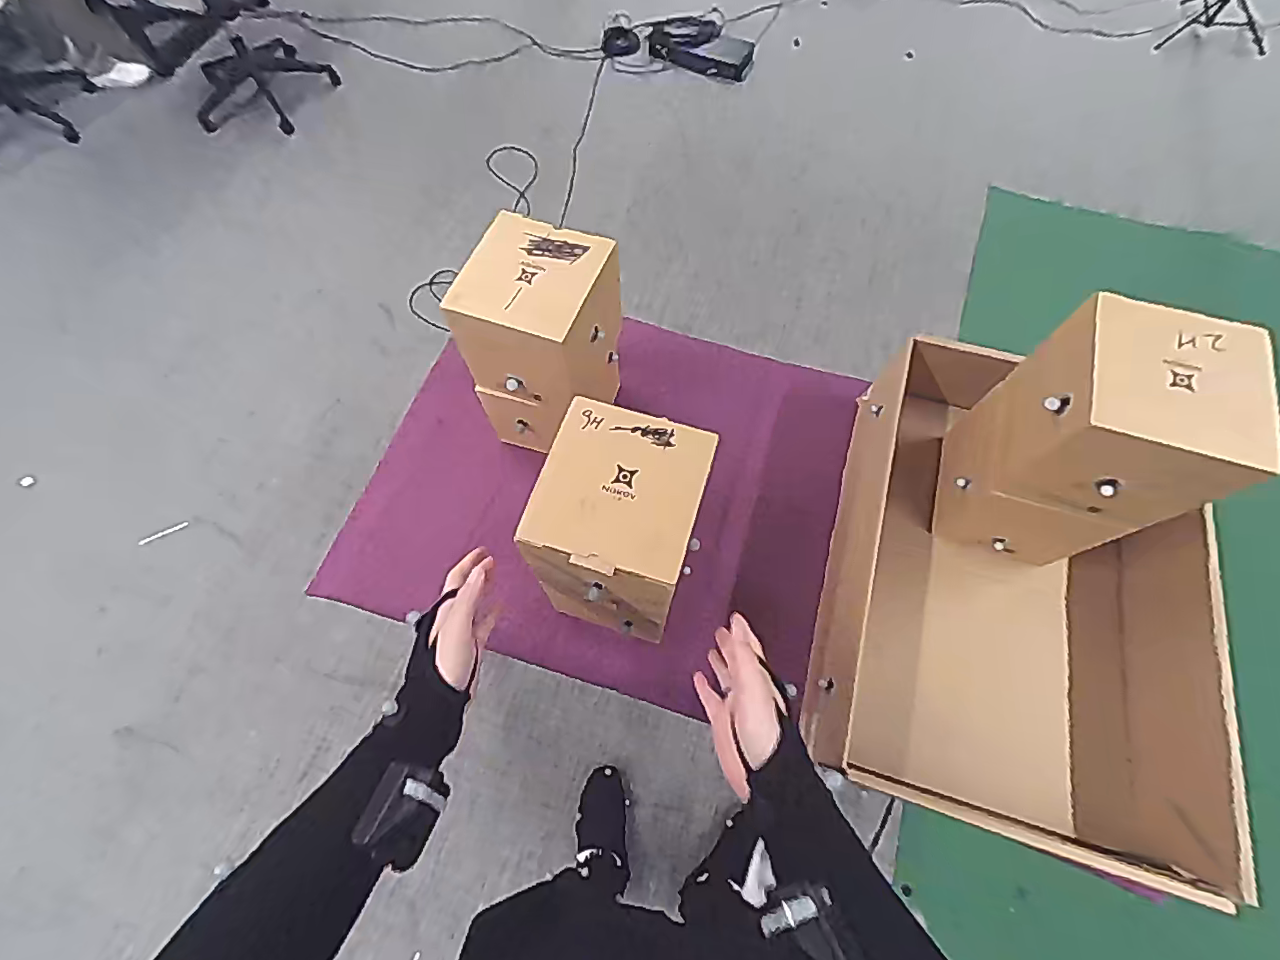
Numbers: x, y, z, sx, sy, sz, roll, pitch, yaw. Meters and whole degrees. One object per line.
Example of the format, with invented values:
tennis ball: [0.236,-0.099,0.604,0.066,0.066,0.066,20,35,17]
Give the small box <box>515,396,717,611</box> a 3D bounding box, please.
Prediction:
small box: [-0.020,0.037,0.623,0.168,0.176,0.179,17,67,6]

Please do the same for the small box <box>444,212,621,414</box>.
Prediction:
small box: [-0.133,-0.222,0.742,0.168,0.176,0.179,19,67,9]

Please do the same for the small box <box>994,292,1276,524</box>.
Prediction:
small box: [0.534,-0.071,0.609,0.168,0.176,0.179,19,68,9]

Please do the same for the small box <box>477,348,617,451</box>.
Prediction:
small box: [-0.139,-0.153,0.891,0.168,0.176,0.179,15,66,7]
